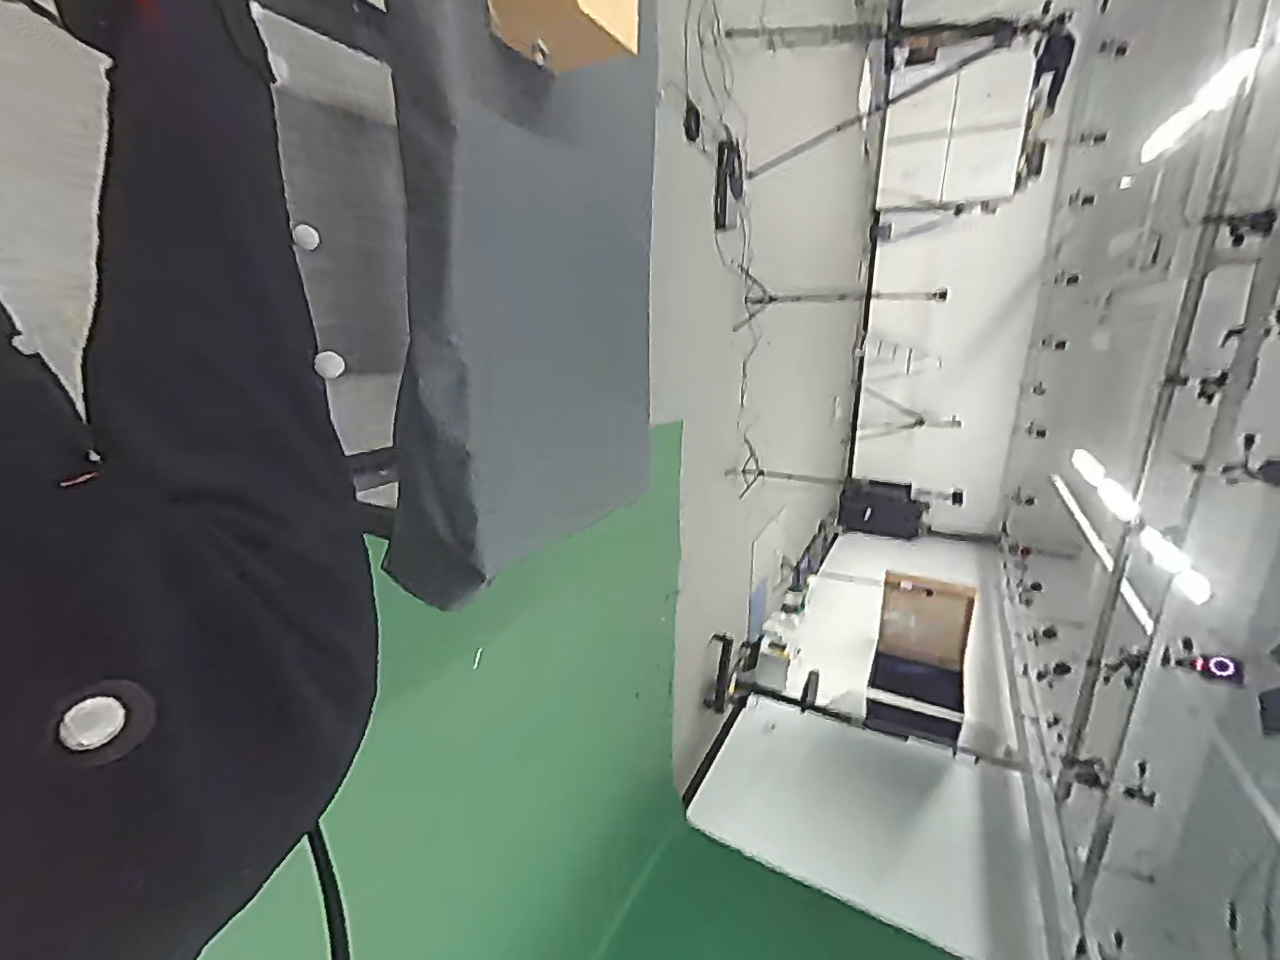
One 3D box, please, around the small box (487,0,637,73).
[{"bbox_3d":[-0.116,-0.758,0.818,0.168,0.176,0.179,-26,122,-56],"label":"small box"}]
